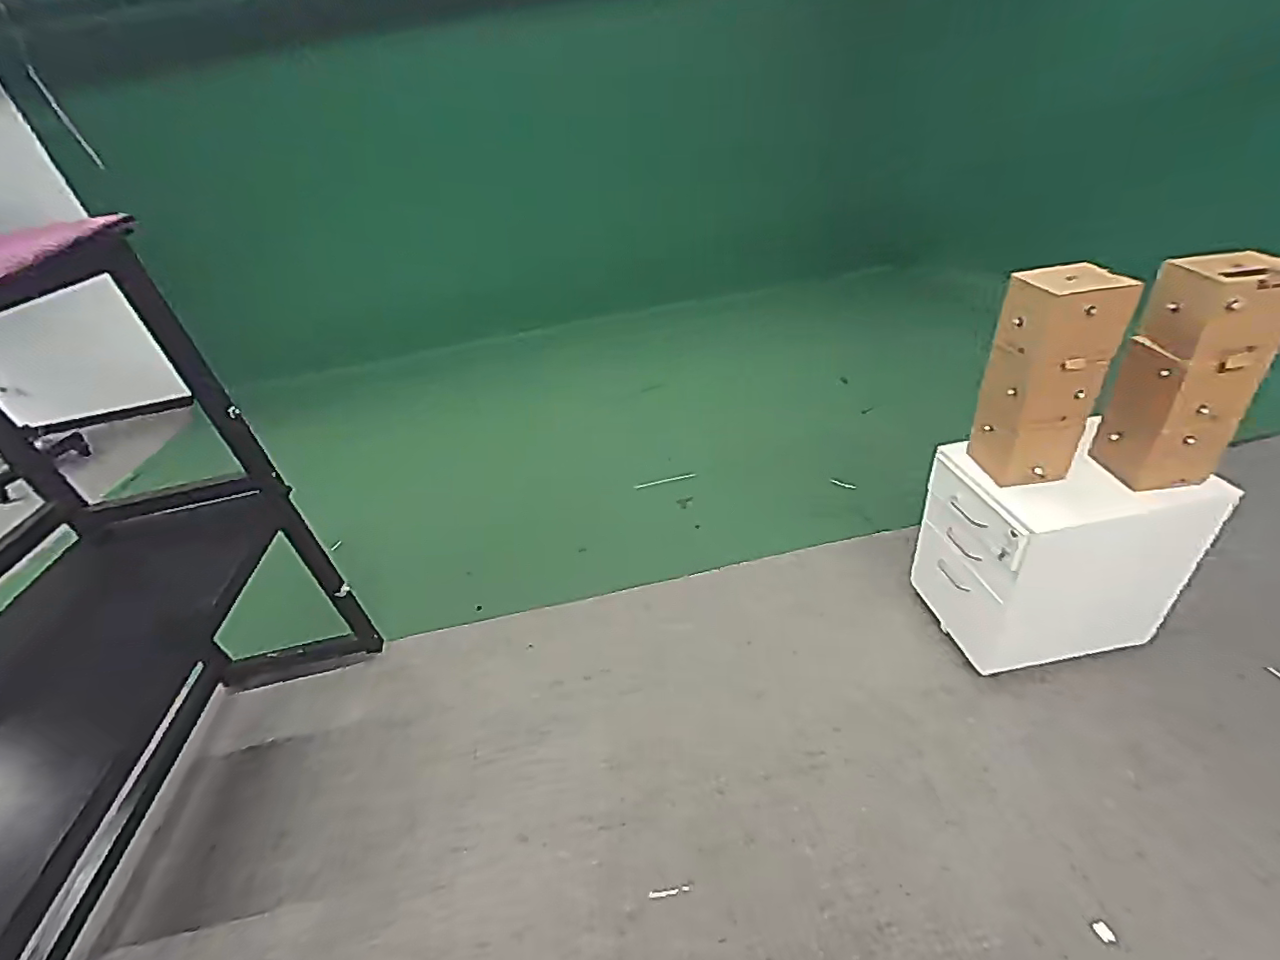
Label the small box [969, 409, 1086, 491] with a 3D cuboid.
[{"bbox_3d":[0.993,-0.091,1.408,0.168,0.176,0.179,-7,36,3],"label":"small box"}]

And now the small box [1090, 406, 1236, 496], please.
[{"bbox_3d":[1.265,-0.080,1.329,0.168,0.176,0.179,-7,34,5],"label":"small box"}]

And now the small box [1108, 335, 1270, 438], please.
[{"bbox_3d":[1.238,-0.215,1.241,0.168,0.176,0.179,-7,35,4],"label":"small box"}]

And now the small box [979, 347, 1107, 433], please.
[{"bbox_3d":[0.968,-0.223,1.318,0.168,0.176,0.179,-6,34,2],"label":"small box"}]

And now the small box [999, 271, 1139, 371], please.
[{"bbox_3d":[0.951,-0.357,1.224,0.179,0.176,0.168,-6,36,1],"label":"small box"}]
